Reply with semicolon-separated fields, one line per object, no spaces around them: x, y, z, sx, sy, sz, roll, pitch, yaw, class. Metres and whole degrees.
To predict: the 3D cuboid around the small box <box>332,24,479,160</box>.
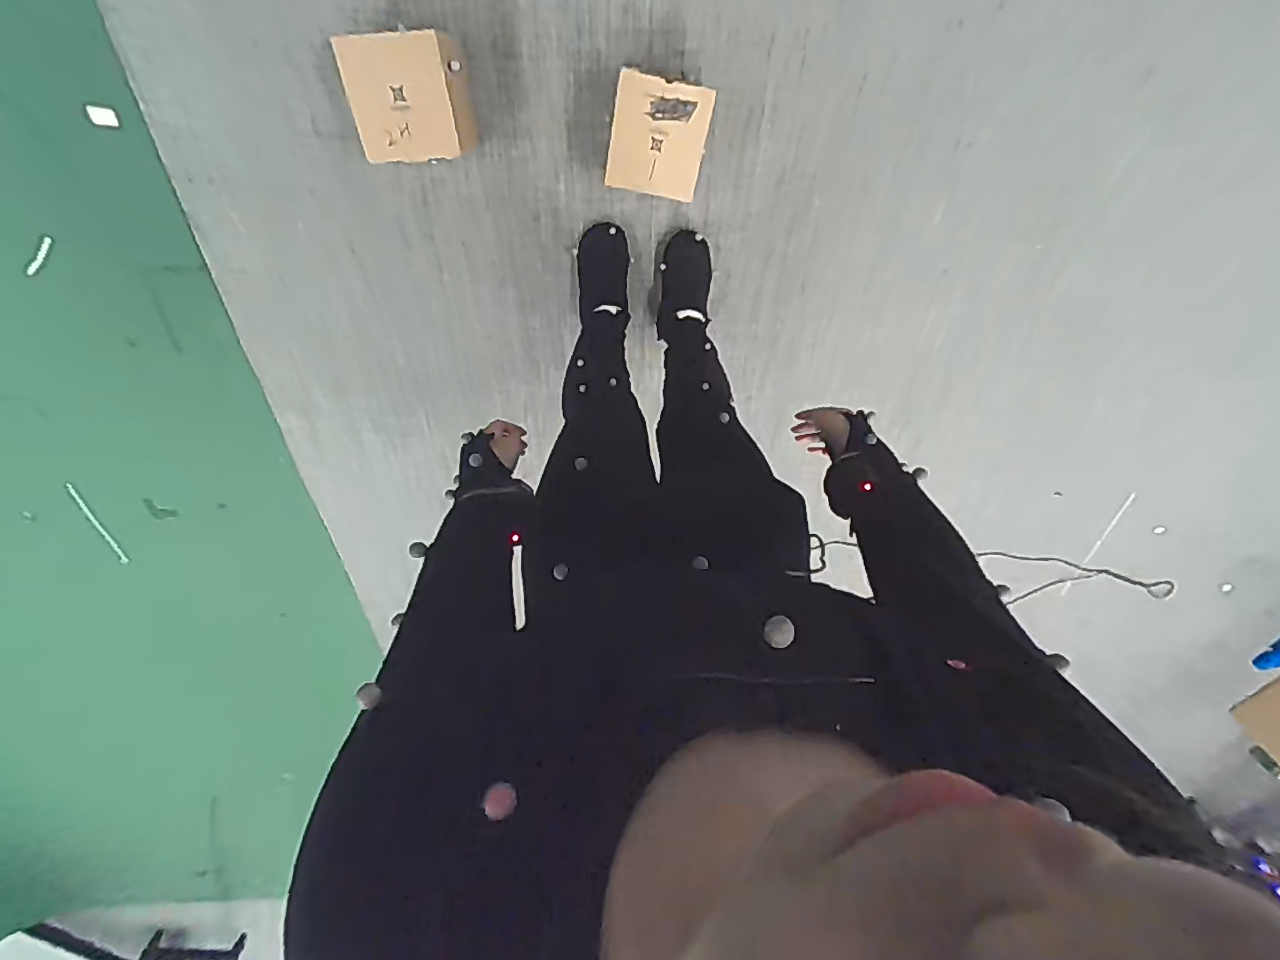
-0.393;-0.670;0.942;0.168;0.176;0.179;-4;127;0;small box

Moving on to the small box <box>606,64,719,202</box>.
0.031;-0.634;0.989;0.168;0.176;0.179;8;127;-8;small box
